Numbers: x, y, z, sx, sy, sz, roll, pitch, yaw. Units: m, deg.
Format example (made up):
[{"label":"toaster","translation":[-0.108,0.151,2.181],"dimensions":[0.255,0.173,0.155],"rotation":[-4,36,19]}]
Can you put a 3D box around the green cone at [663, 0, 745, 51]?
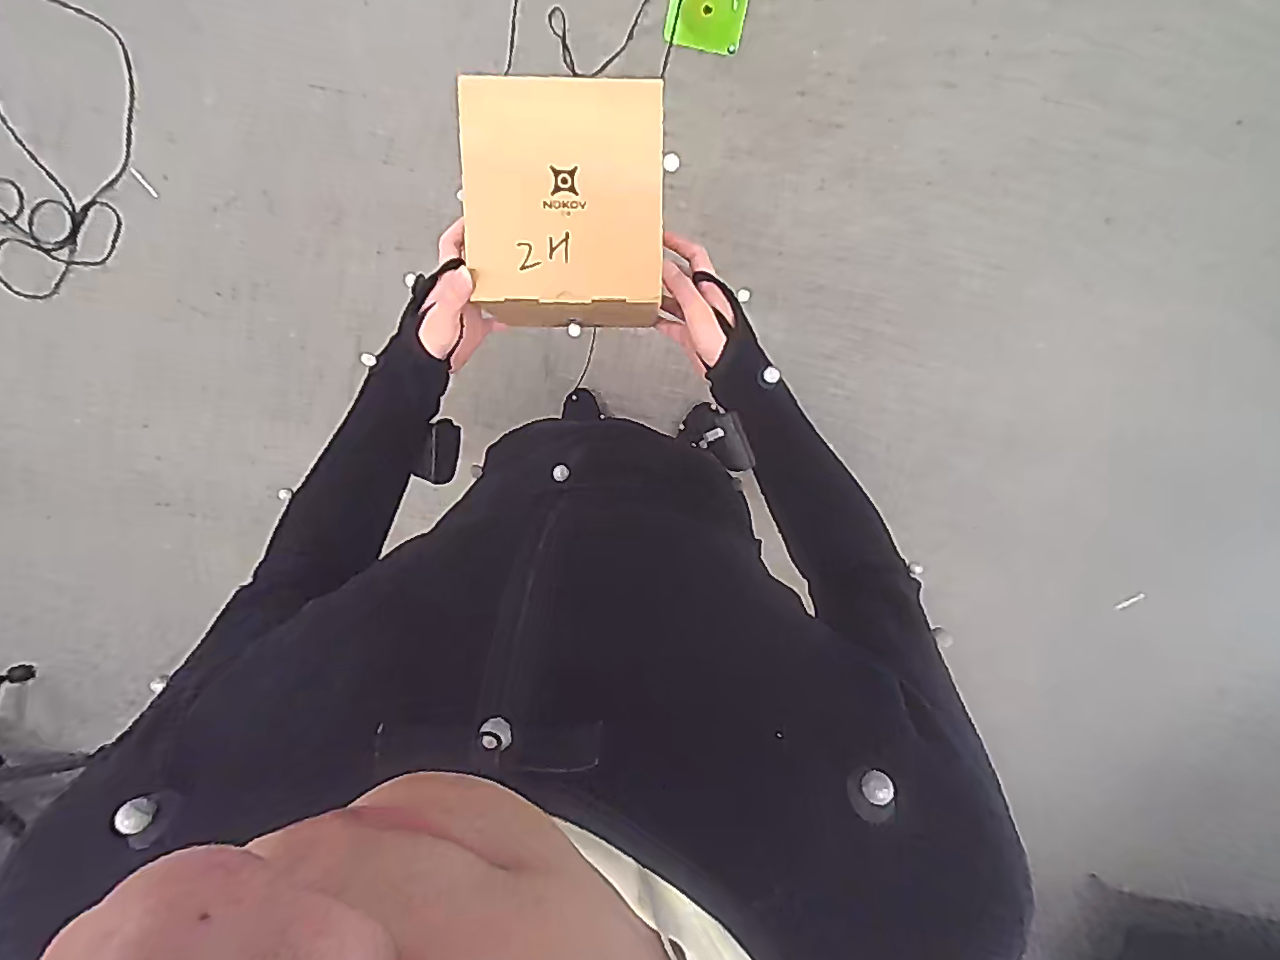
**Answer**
[{"label":"green cone","translation":[0.168,-1.213,1.240],"dimensions":[0.202,0.368,0.200],"rotation":[11,100,-1]}]

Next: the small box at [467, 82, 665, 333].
[{"label":"small box","translation":[-0.067,-0.248,0.534],"dimensions":[0.168,0.176,0.179],"rotation":[1,99,-2]}]
